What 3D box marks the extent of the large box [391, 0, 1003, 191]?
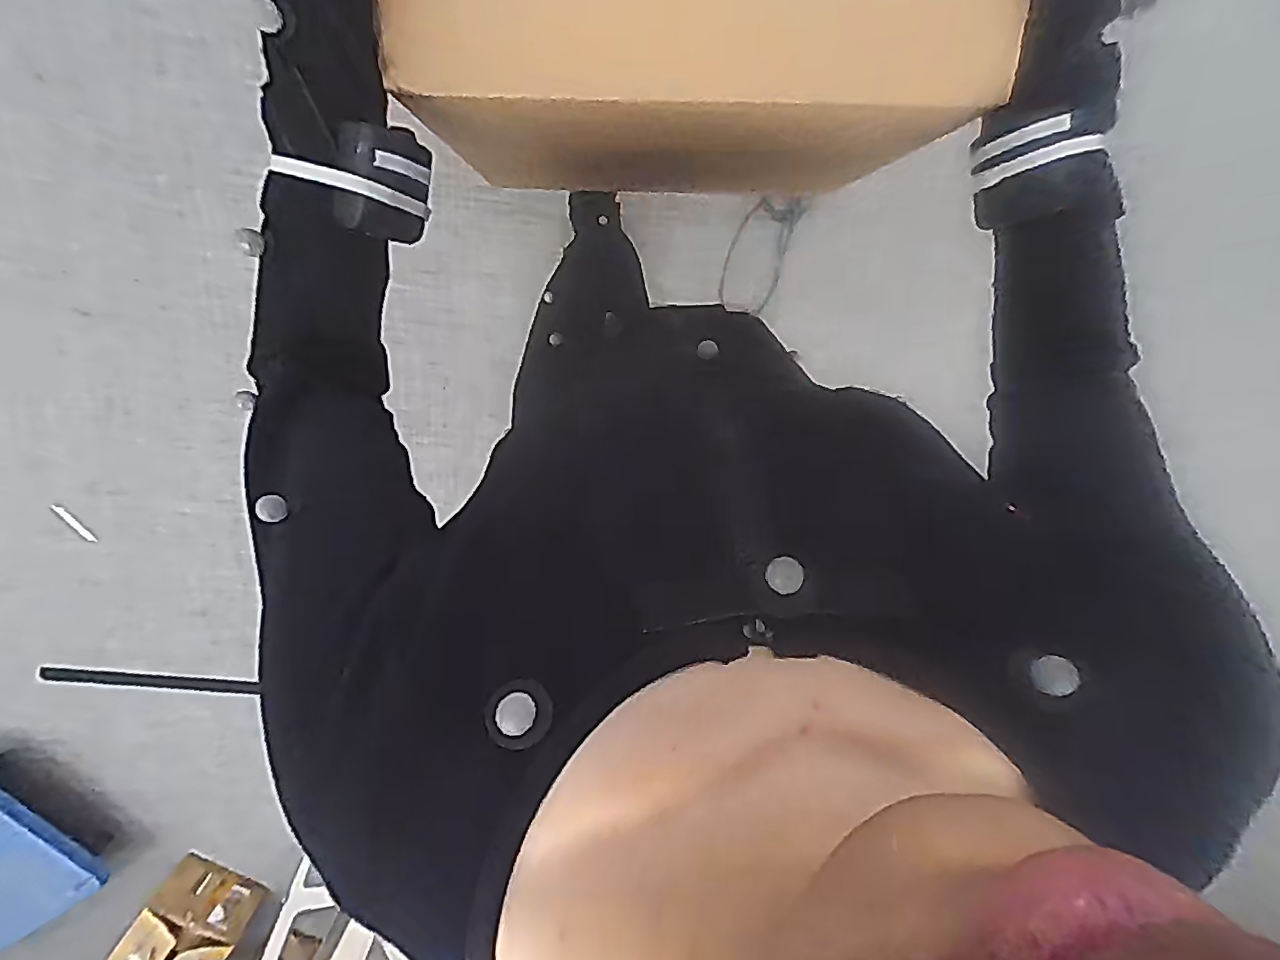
[{"bbox_3d":[0.031,-0.449,0.457,0.408,0.320,0.320,-1,108,-3],"label":"large box"}]
